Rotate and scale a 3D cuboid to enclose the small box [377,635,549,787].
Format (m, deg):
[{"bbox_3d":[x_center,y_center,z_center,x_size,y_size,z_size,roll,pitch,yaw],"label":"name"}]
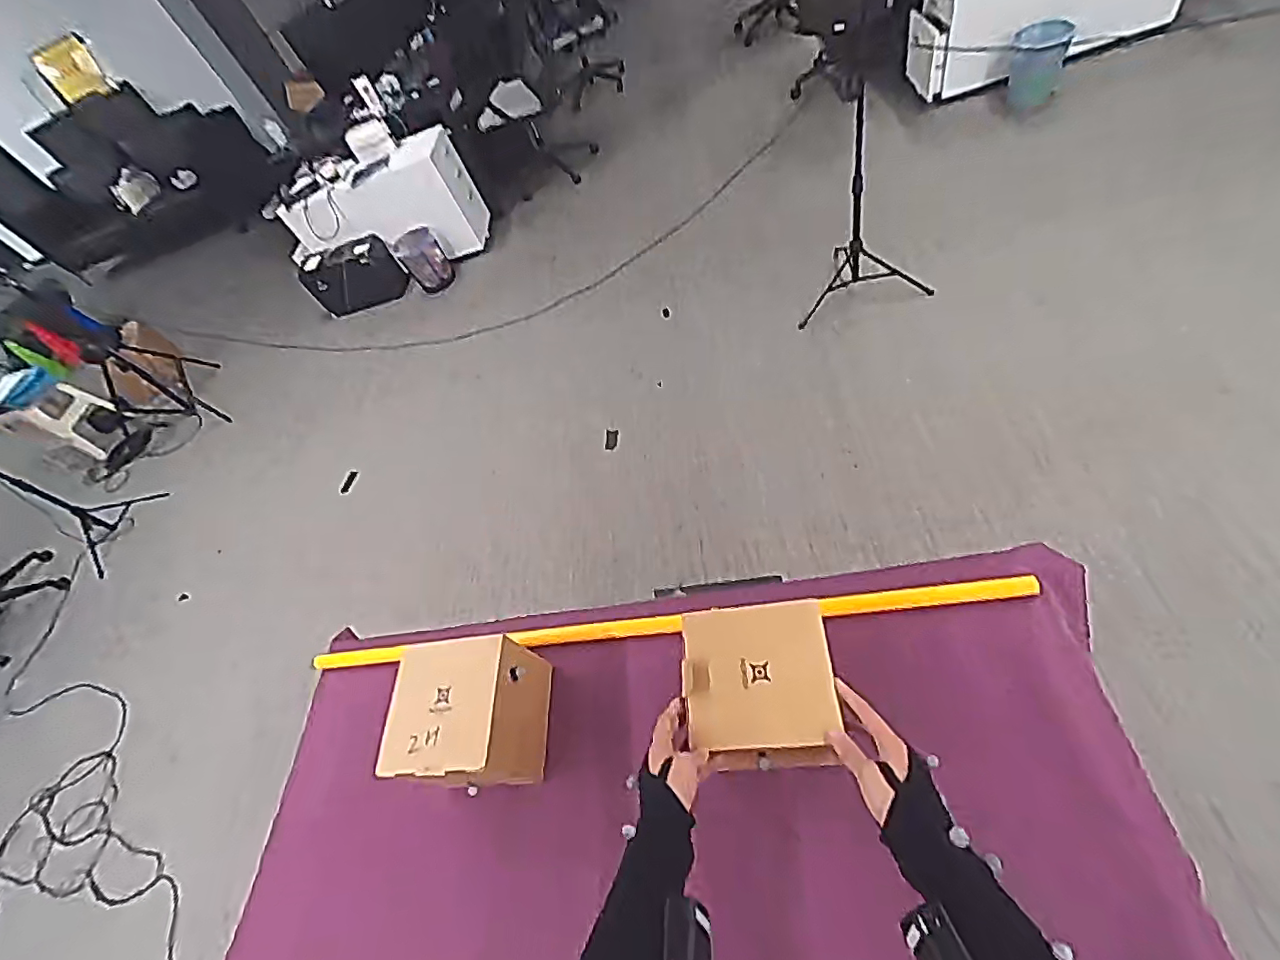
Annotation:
[{"bbox_3d":[-0.247,0.348,0.803,0.168,0.176,0.179,-10,55,14],"label":"small box"}]

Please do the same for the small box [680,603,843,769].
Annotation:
[{"bbox_3d":[0.158,0.274,0.705,0.179,0.176,0.168,-11,54,14],"label":"small box"}]
